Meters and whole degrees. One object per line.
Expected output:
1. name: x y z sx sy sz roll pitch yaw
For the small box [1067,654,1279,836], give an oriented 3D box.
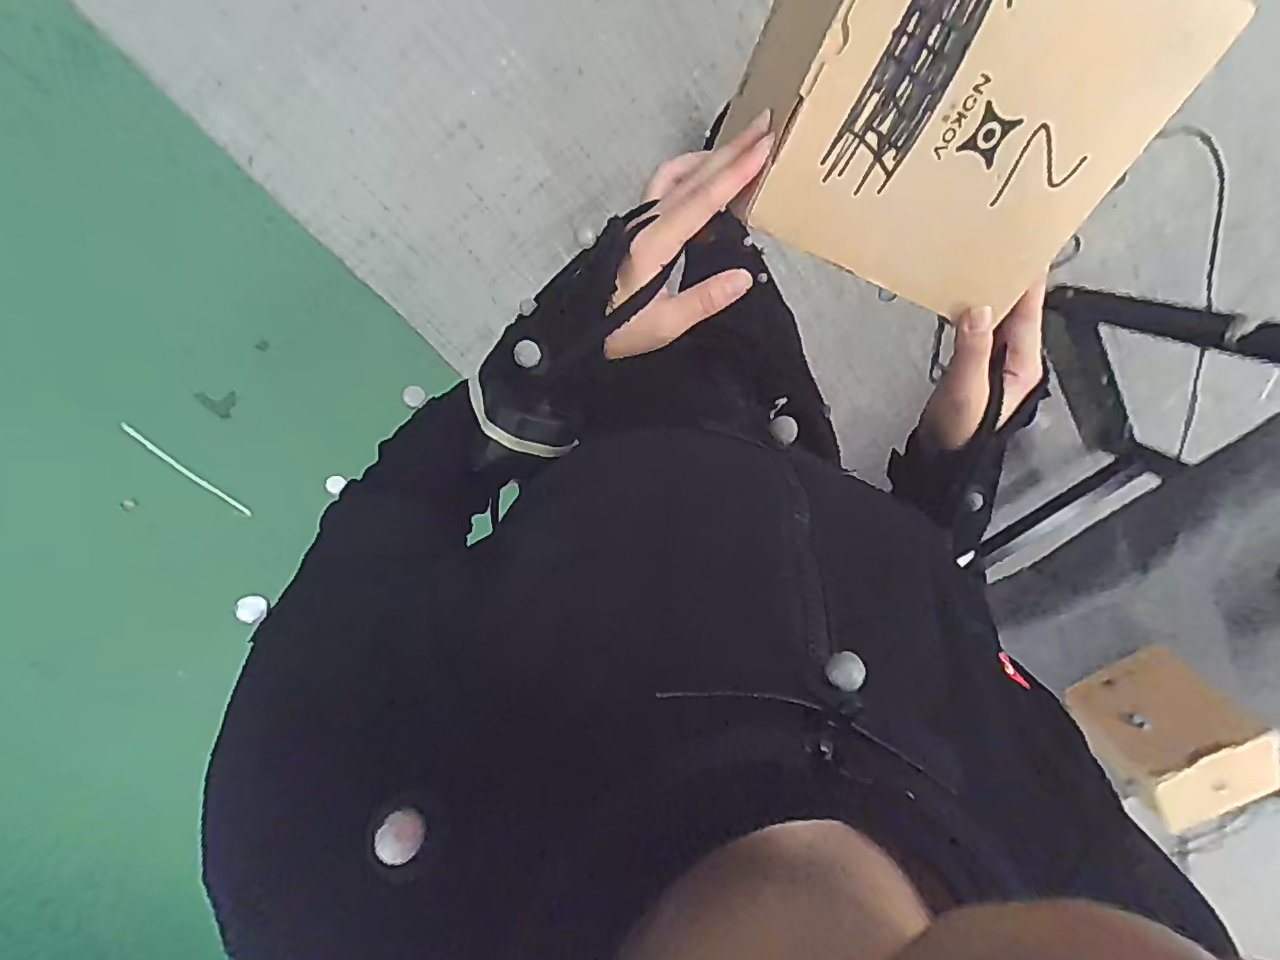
1. small box: 0.810 0.398 0.834 0.168 0.176 0.179 -34 118 12
